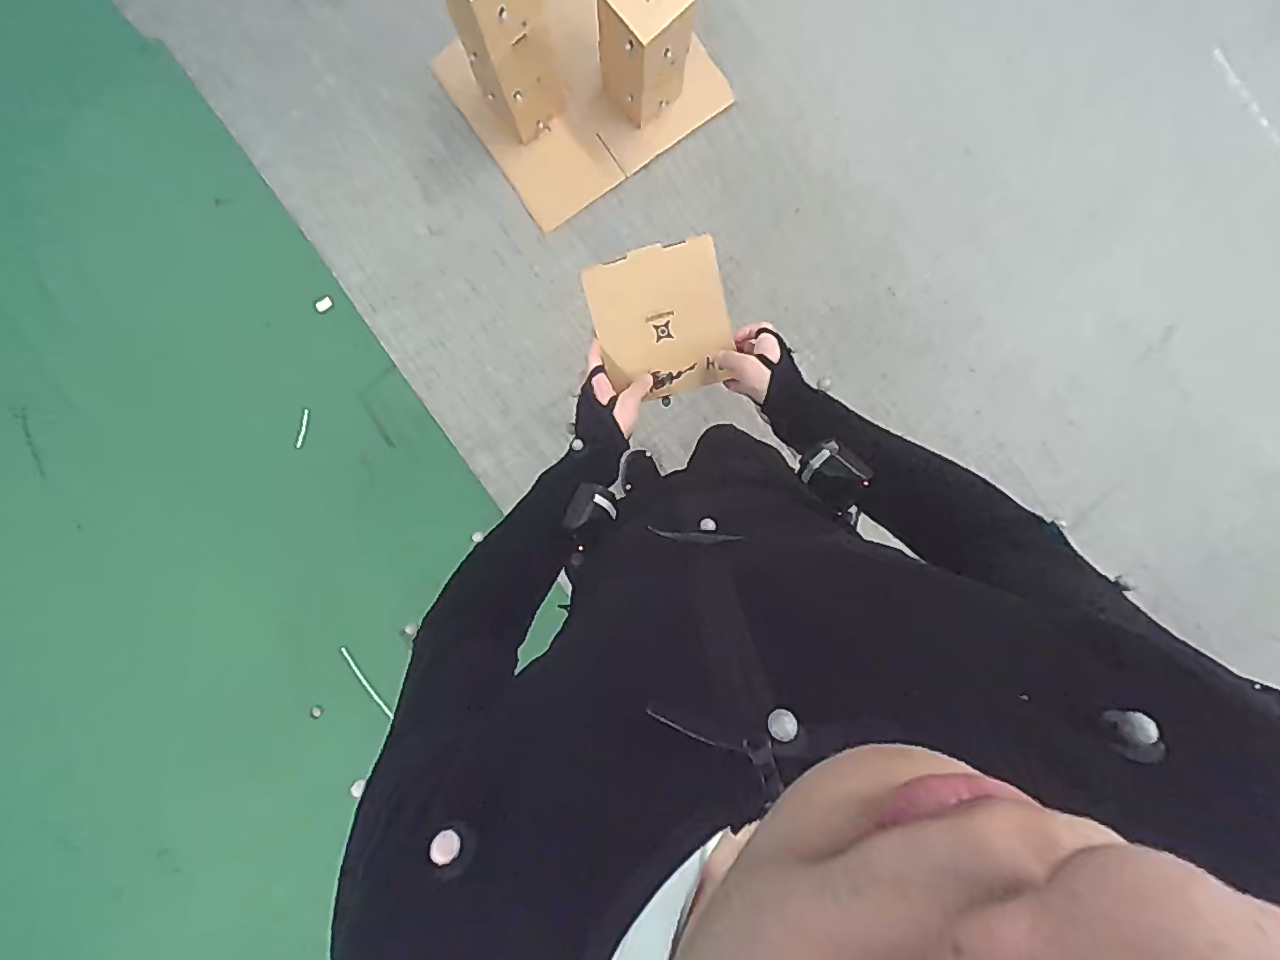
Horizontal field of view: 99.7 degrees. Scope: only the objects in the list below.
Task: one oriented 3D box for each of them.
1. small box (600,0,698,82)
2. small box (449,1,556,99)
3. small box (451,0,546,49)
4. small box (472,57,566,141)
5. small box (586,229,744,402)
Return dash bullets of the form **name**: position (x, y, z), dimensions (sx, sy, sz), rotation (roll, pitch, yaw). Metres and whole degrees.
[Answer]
- **small box**: position (0.020, -1.129, 1.324), dimensions (0.168, 0.176, 0.179), rotation (-41, 91, 0)
- **small box**: position (-0.328, -1.091, 1.332), dimensions (0.168, 0.176, 0.179), rotation (-39, 90, 2)
- **small box**: position (-0.326, -1.090, 1.170), dimensions (0.168, 0.176, 0.179), rotation (-39, 91, 2)
- **small box**: position (-0.327, -1.096, 1.495), dimensions (0.168, 0.176, 0.179), rotation (-42, 92, 1)
- **small box**: position (0.033, -0.215, 0.736), dimensions (0.168, 0.176, 0.179), rotation (-13, 104, 5)
